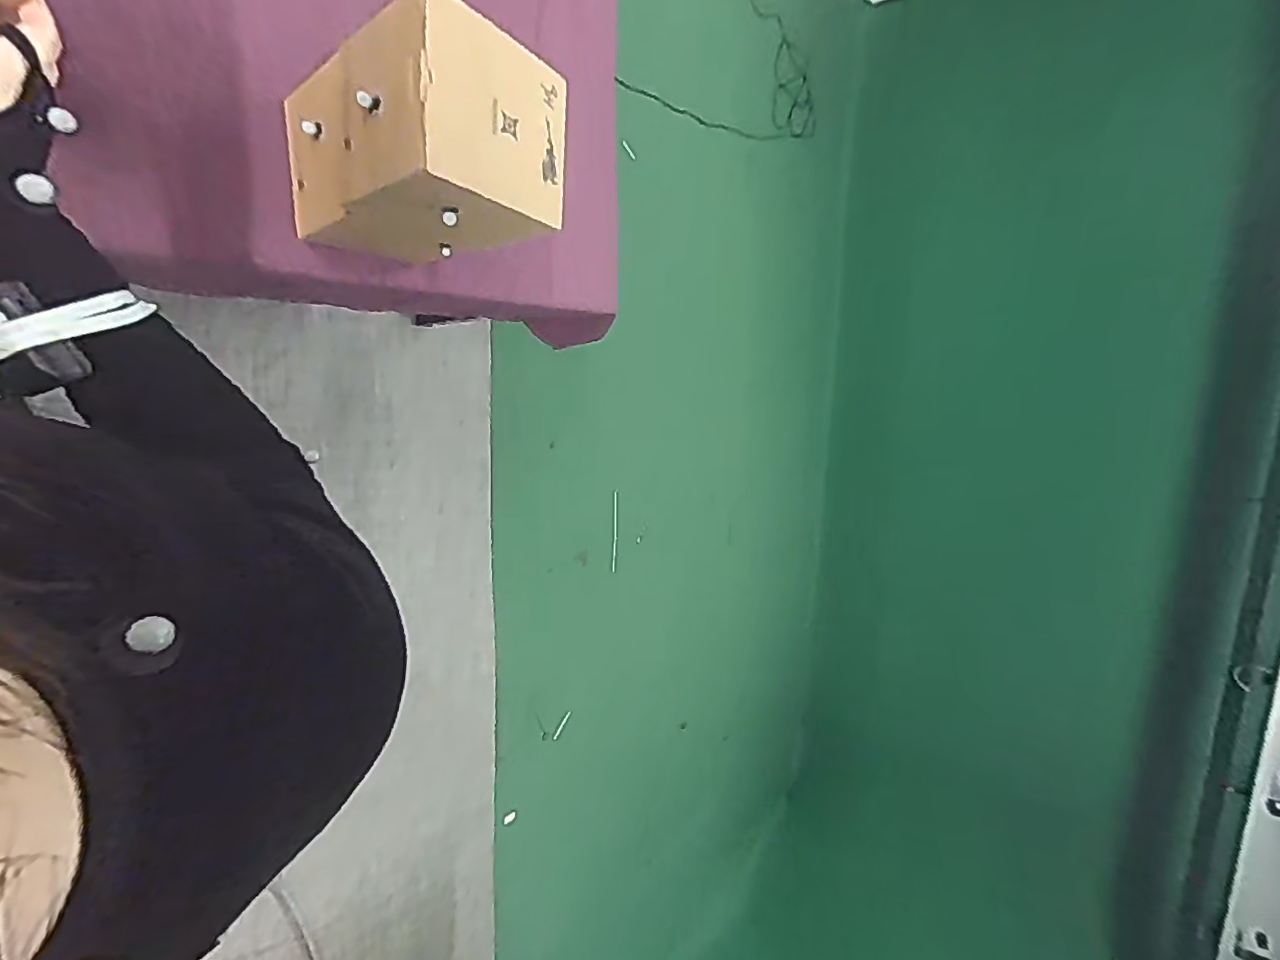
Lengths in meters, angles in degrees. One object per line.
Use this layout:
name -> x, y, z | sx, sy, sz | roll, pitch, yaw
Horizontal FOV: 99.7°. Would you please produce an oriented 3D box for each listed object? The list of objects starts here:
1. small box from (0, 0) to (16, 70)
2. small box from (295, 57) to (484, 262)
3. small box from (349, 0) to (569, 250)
small box -> -0.460, -0.346, 0.271 | 0.179, 0.176, 0.168 | -16, 109, -50
small box -> -0.324, -0.391, 0.702 | 0.179, 0.176, 0.168 | -12, 106, -51
small box -> -0.200, -0.368, 0.596 | 0.179, 0.176, 0.168 | -4, 100, -51
